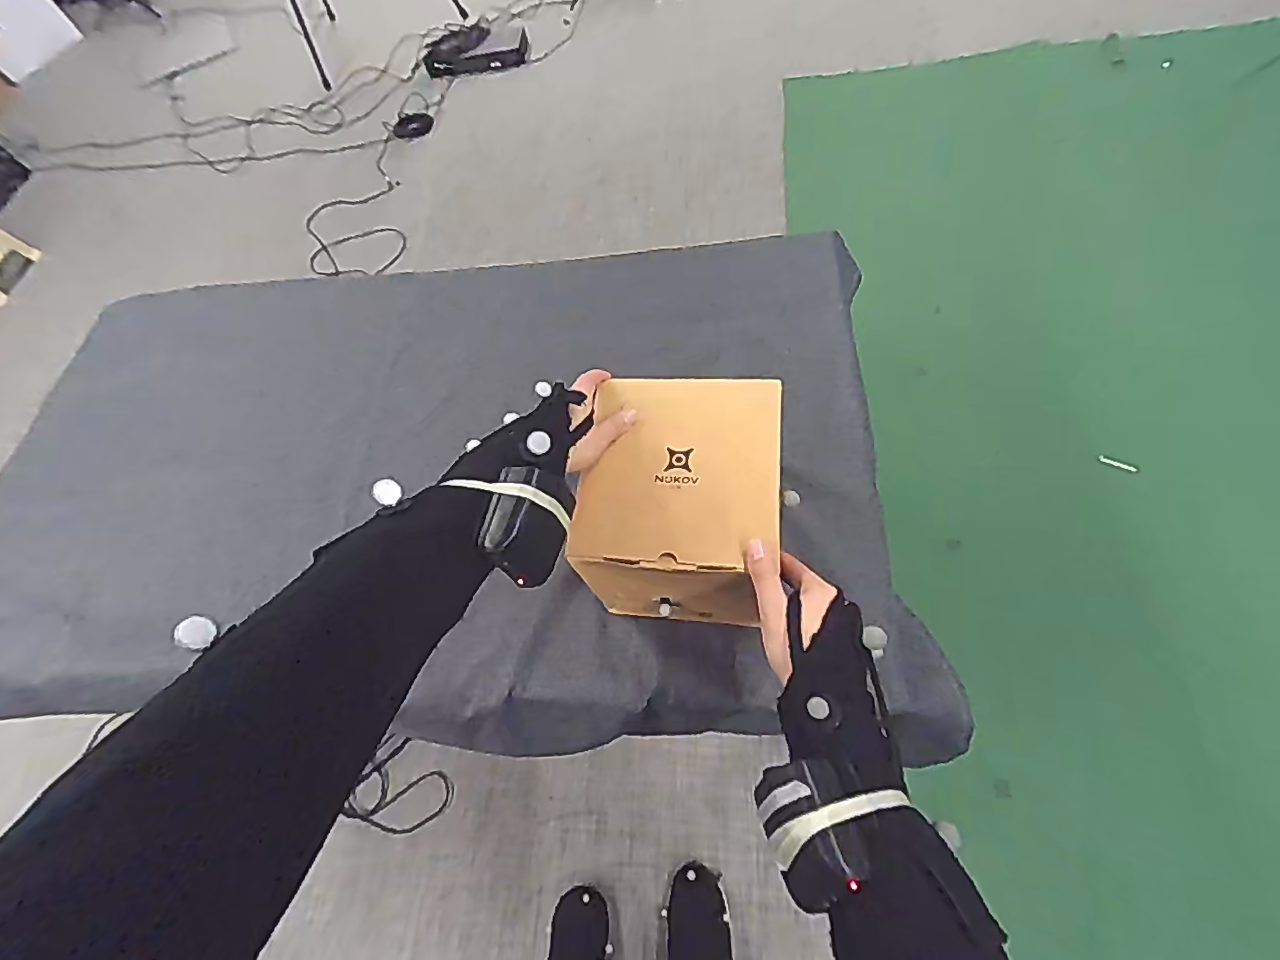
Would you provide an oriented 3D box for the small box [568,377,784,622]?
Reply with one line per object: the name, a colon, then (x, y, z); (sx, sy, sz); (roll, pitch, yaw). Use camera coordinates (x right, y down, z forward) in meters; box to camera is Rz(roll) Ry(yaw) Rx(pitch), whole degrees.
small box: (0.045, 0.023, 0.515); (0.168, 0.176, 0.179); (2, 63, 11)
